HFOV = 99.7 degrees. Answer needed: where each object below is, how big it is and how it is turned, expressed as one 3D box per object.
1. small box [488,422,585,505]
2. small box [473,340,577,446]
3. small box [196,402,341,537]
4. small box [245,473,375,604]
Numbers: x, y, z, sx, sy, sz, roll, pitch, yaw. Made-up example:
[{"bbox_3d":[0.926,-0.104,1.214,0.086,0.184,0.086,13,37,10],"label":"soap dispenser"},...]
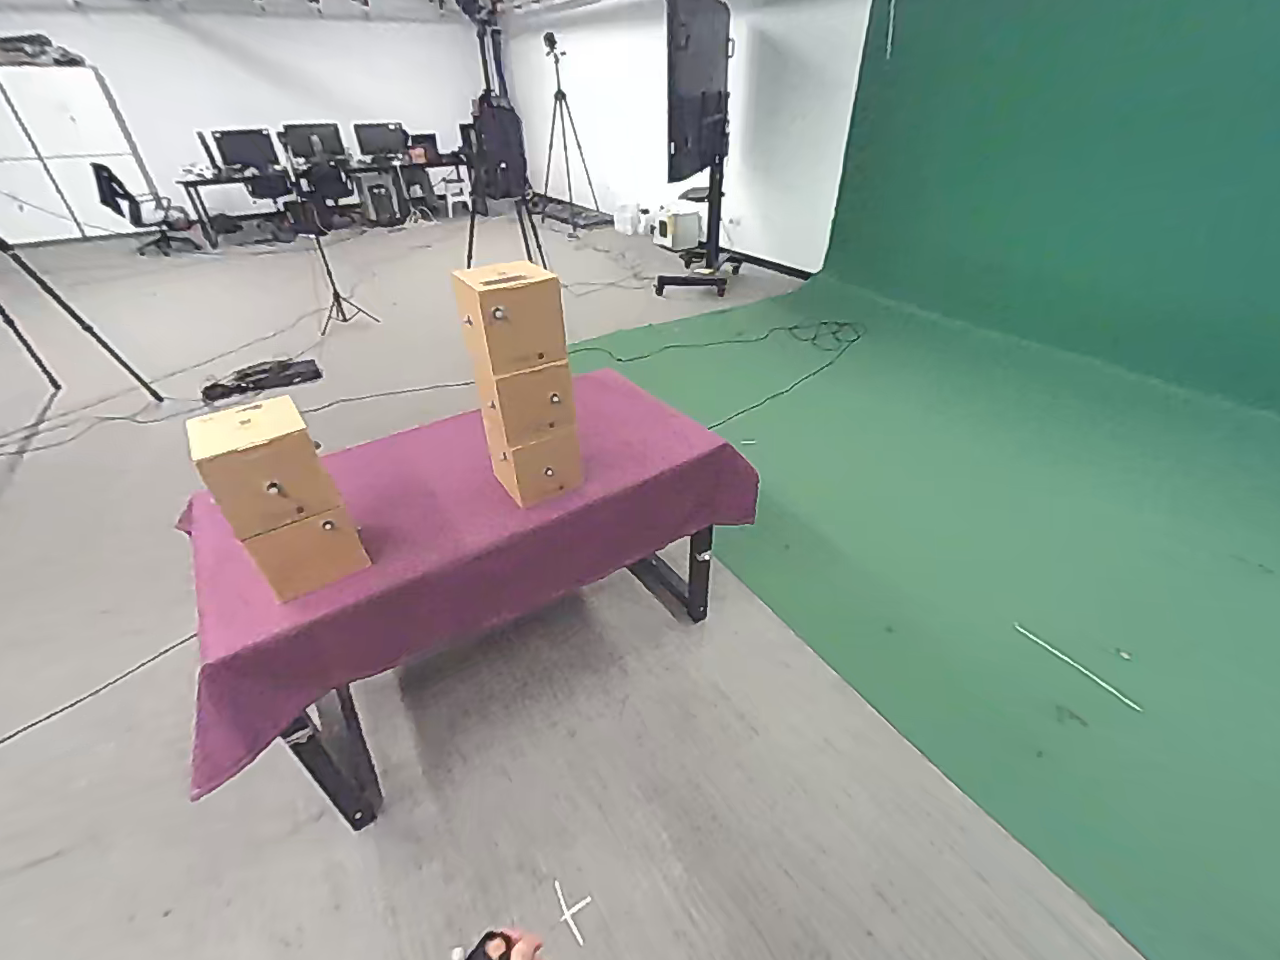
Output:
[{"bbox_3d":[-0.246,-0.058,1.305,0.168,0.176,0.179,-22,40,-26],"label":"small box"},{"bbox_3d":[-0.254,-0.193,1.213,0.168,0.176,0.179,-21,39,-24],"label":"small box"},{"bbox_3d":[-0.676,-0.017,0.993,0.168,0.176,0.179,-24,41,-29],"label":"small box"},{"bbox_3d":[-0.665,0.117,1.088,0.179,0.176,0.168,-24,40,-29],"label":"small box"}]
